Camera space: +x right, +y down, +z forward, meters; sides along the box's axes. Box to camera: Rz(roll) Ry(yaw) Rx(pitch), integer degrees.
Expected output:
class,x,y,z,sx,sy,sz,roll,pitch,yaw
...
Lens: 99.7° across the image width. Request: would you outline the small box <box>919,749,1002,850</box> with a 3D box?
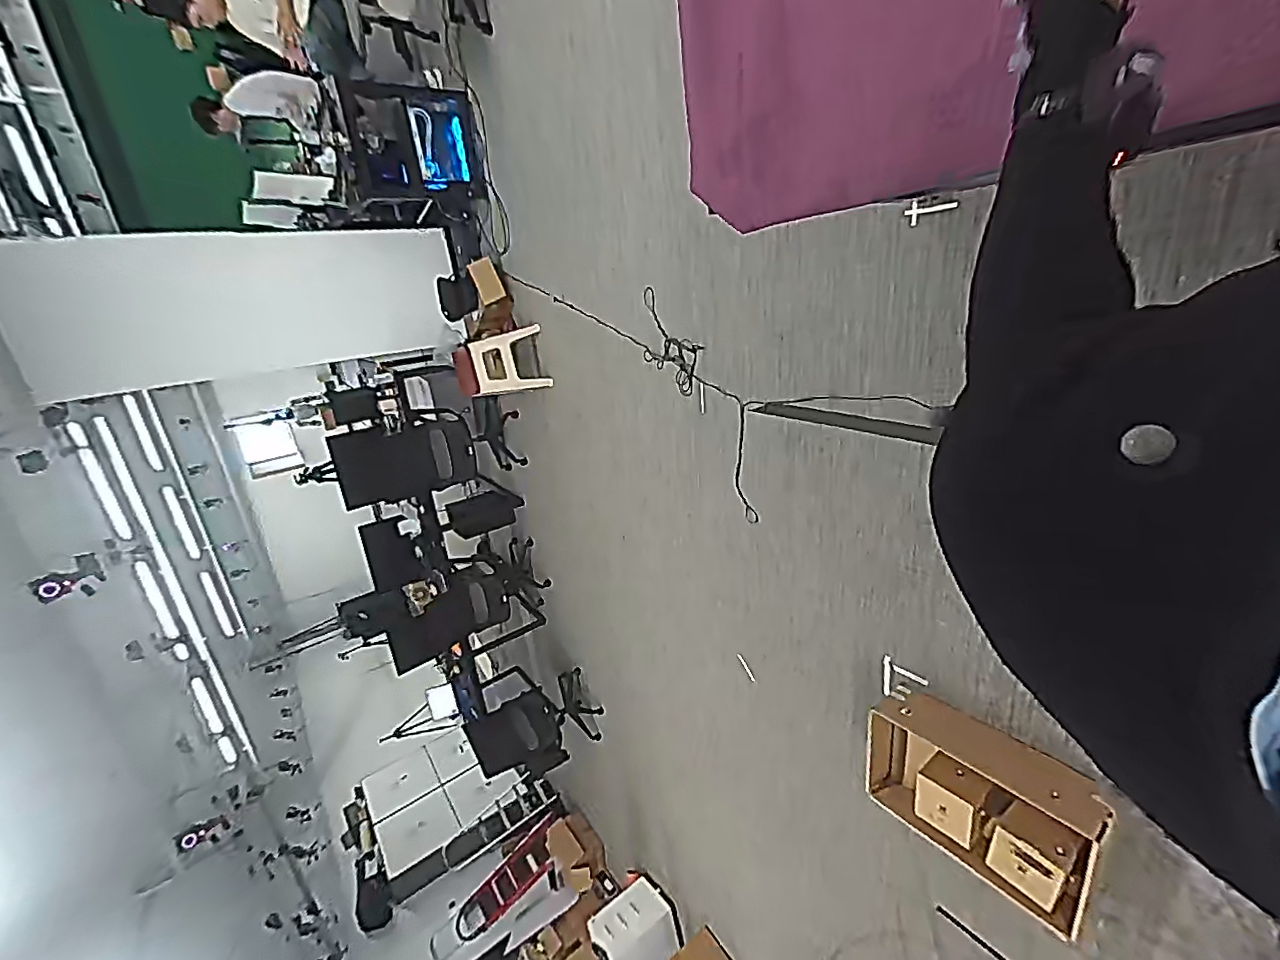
class,x,y,z,sx,sy,sz,roll,pitch,yaw
small box,0.997,0.982,1.682,0.168,0.176,0.179,19,121,52
